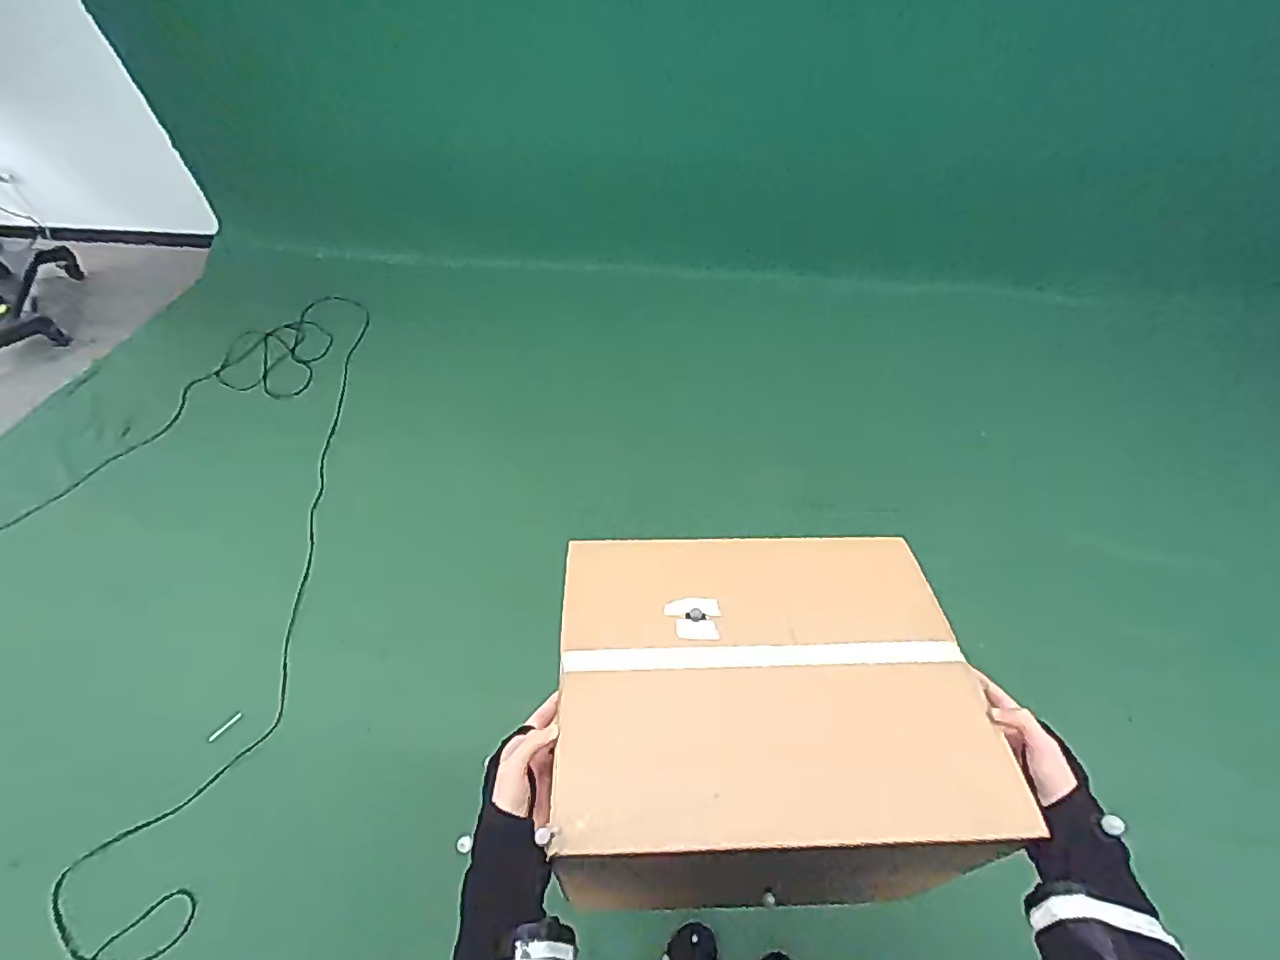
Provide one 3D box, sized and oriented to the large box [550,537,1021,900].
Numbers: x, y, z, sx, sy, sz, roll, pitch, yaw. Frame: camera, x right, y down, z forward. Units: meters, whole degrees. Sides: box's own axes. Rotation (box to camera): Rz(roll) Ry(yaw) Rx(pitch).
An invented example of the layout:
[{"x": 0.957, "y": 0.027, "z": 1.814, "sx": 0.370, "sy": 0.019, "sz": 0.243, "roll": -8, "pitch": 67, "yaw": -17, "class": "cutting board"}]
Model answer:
[{"x": 0.119, "y": 0.289, "z": 0.654, "sx": 0.408, "sy": 0.320, "sz": 0.320, "roll": -1, "pitch": 45, "yaw": -2, "class": "large box"}]
